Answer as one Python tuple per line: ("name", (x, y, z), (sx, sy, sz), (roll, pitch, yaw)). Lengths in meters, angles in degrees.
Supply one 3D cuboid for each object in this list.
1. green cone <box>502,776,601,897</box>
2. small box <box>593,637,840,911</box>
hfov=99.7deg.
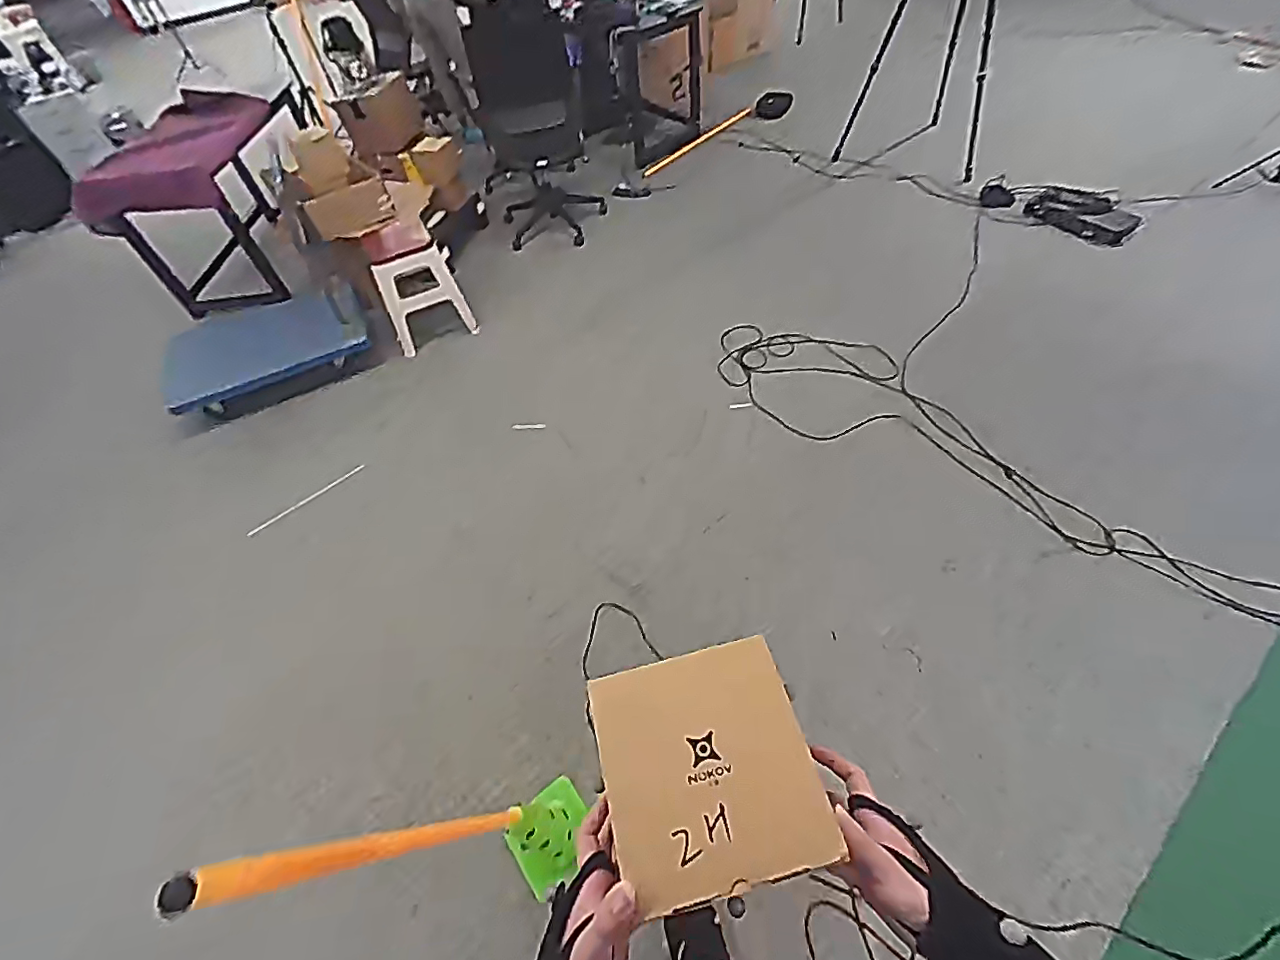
("green cone", (-0.237, 0.789, 1.232), (0.202, 0.368, 0.200), (-34, 57, -20))
("small box", (0.058, 0.275, 0.505), (0.168, 0.176, 0.179), (-13, 54, -3))
